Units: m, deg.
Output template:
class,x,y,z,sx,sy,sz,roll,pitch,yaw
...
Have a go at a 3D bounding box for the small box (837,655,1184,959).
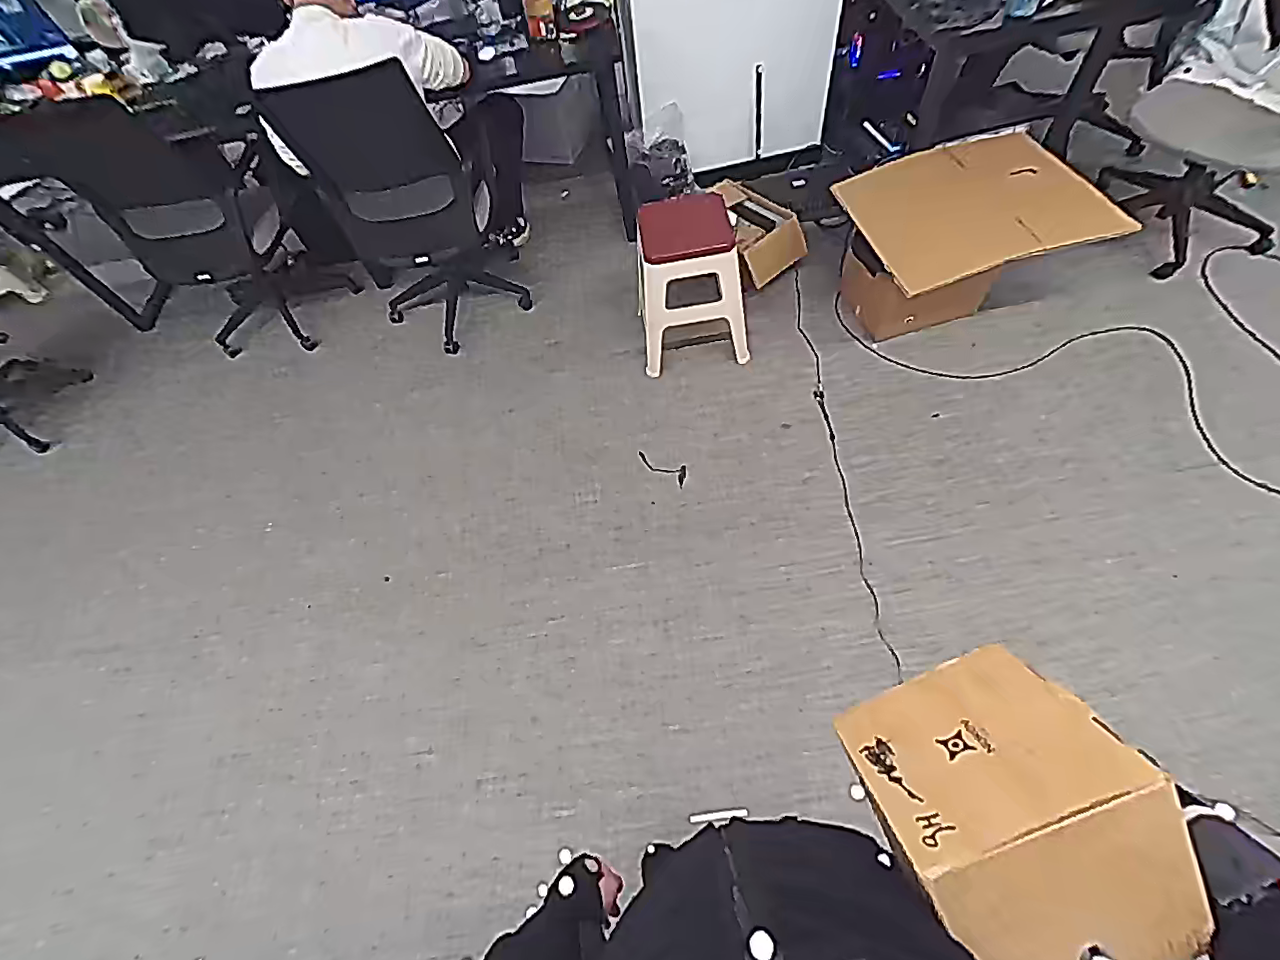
class,x,y,z,sx,sy,sz,roll,pitch,yaw
small box,0.307,0.294,0.467,0.179,0.168,0.176,-26,103,4
